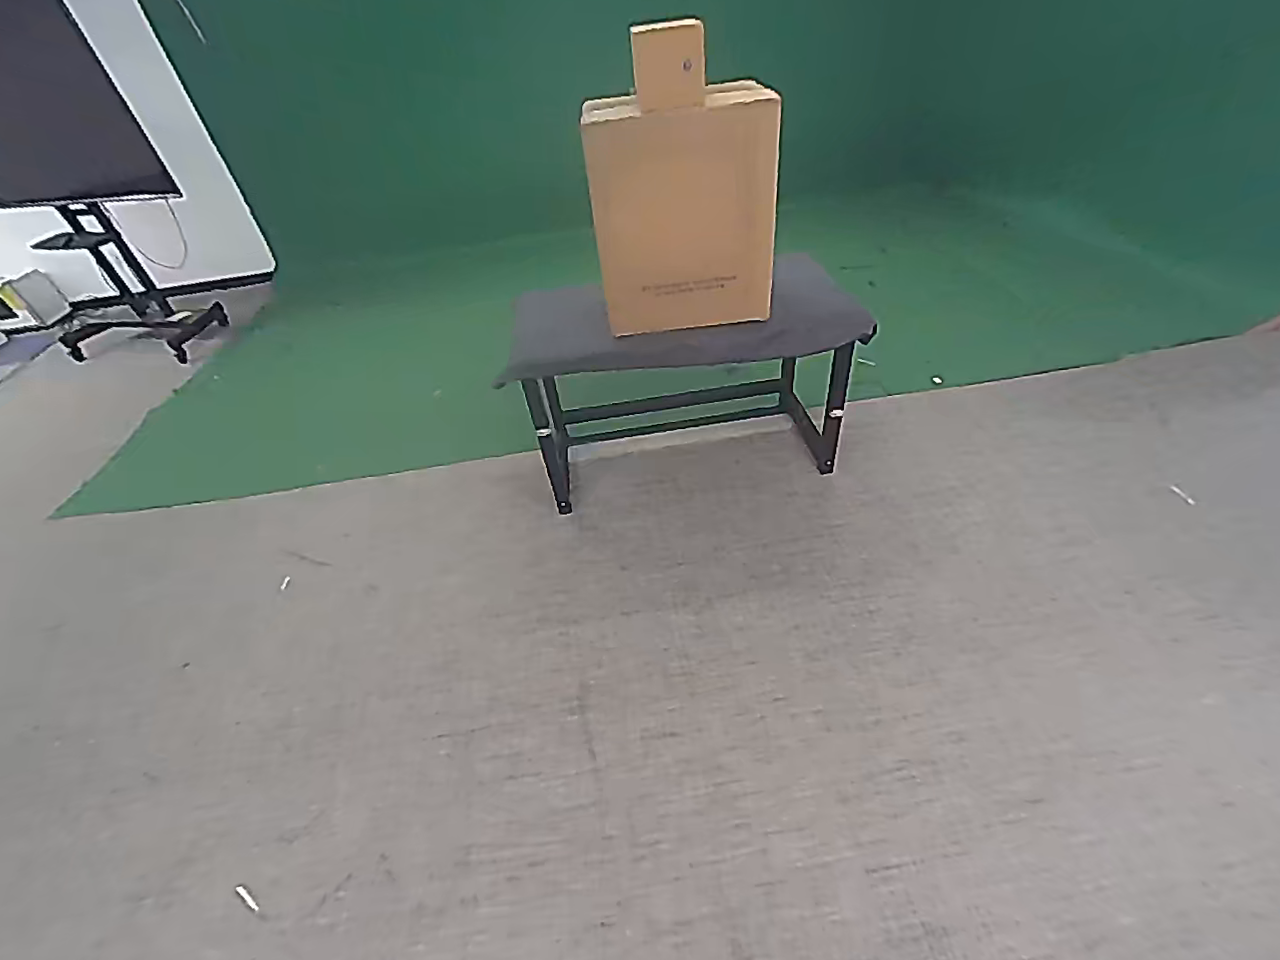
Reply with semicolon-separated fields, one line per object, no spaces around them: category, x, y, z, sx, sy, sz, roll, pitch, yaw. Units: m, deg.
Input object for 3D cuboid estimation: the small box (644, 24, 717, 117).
small box;0.108;-1.096;1.447;0.179;0.176;0.168;-7;43;2
